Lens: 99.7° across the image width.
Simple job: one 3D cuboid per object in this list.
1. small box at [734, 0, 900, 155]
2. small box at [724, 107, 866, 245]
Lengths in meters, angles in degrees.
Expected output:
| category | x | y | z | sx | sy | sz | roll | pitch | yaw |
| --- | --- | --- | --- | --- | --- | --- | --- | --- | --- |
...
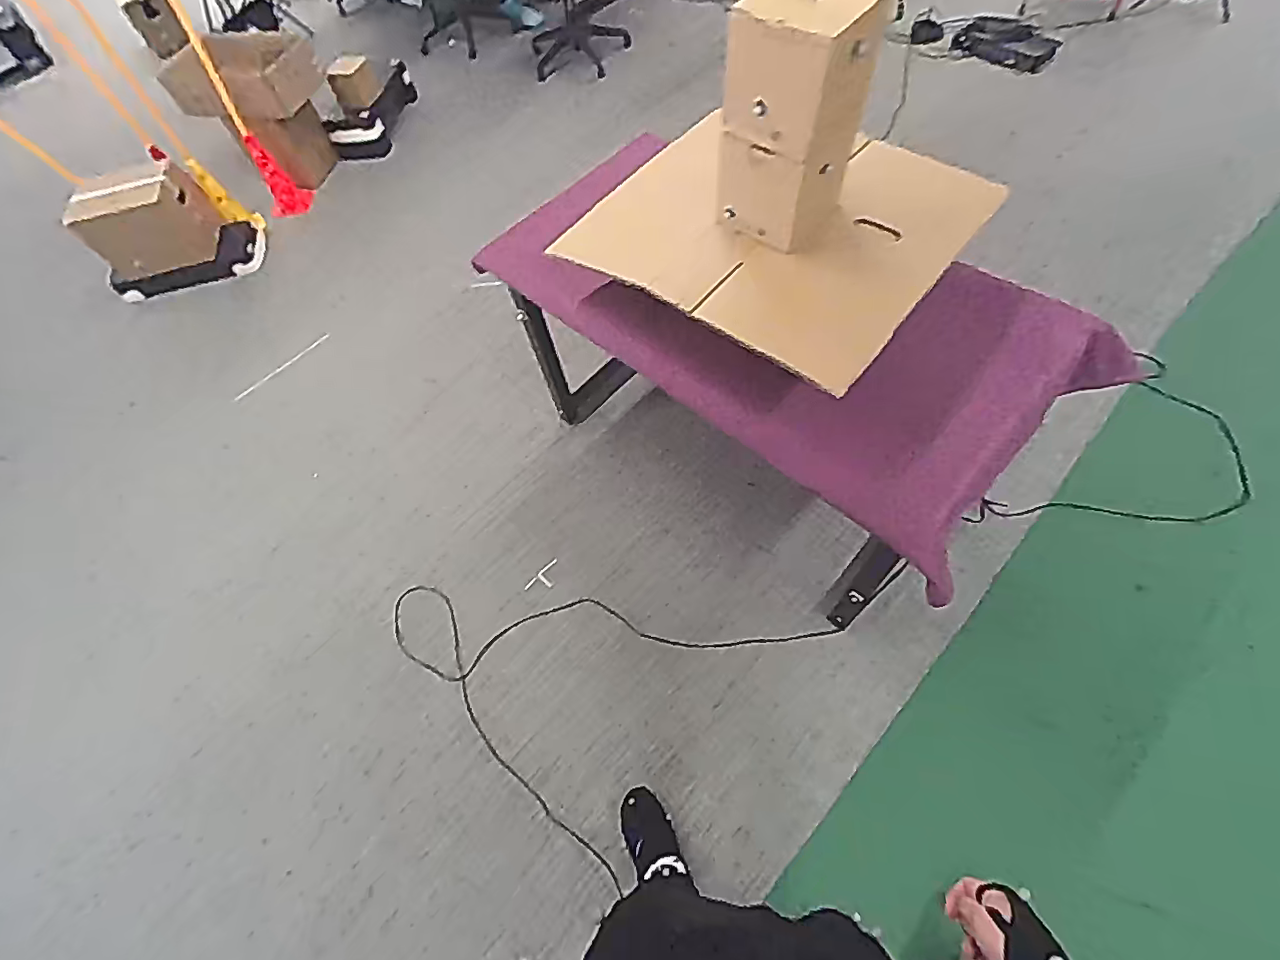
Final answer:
| category | x | y | z | sx | sy | sz | roll | pitch | yaw |
| --- | --- | --- | --- | --- | --- | --- | --- | --- | --- |
| small box | 0.256 | -0.638 | 0.821 | 0.168 | 0.176 | 0.179 | 35 | 71 | 20 |
| small box | 0.265 | -0.556 | 0.961 | 0.168 | 0.176 | 0.179 | 36 | 70 | 20 |
